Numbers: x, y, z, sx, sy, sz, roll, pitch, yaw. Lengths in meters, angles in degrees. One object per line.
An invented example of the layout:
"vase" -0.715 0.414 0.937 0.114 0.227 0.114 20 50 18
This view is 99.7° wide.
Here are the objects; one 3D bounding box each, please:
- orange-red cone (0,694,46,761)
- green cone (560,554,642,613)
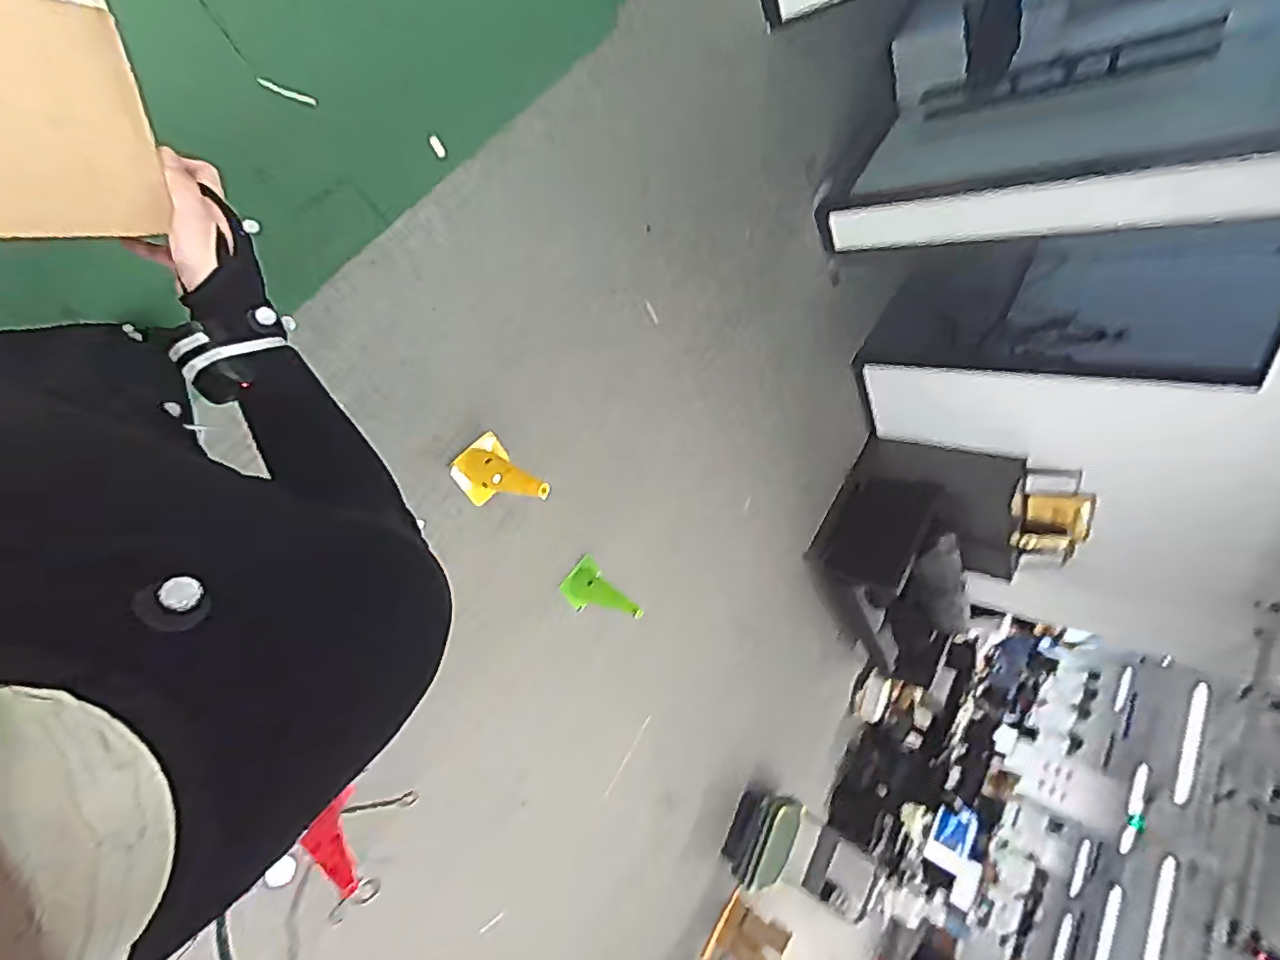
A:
"orange-red cone" -1.292 0.564 1.000 0.199 0.360 0.198 -49 132 -24
"green cone" -0.127 0.479 2.266 0.200 0.368 0.202 -52 133 -24
